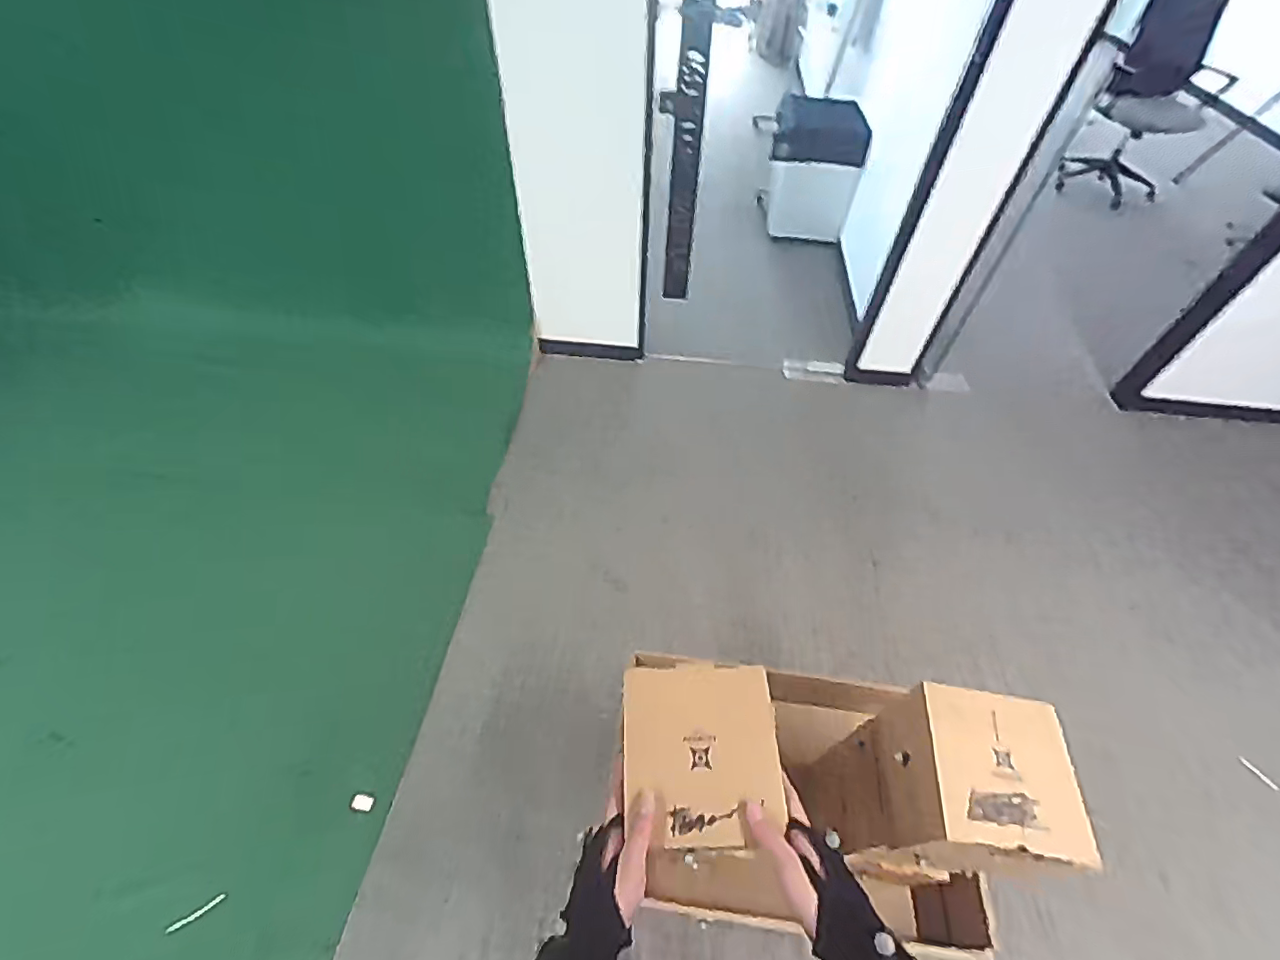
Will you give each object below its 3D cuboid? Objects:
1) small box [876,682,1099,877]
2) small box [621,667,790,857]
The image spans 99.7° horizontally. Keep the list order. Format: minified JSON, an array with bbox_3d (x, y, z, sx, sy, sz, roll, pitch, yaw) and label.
[{"bbox_3d":[0.423,0.388,0.696,0.168,0.176,0.179,10,51,4],"label":"small box"},{"bbox_3d":[0.062,0.333,0.635,0.168,0.176,0.179,-1,55,-1],"label":"small box"}]
